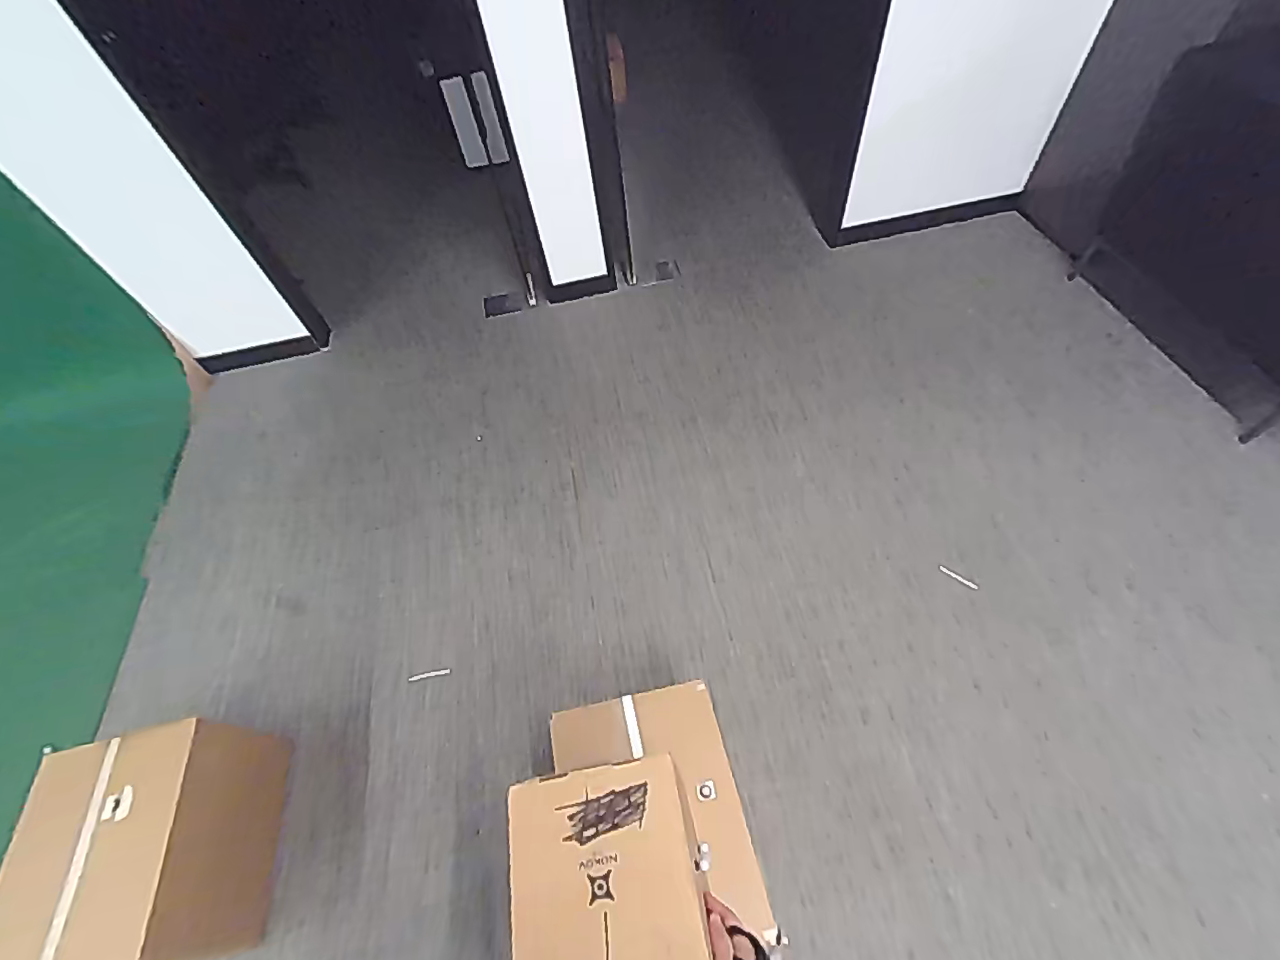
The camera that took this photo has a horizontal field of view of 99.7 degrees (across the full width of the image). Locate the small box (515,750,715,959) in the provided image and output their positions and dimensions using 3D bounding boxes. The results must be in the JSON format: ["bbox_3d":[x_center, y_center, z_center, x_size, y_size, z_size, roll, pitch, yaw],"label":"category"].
[{"bbox_3d":[-0.023,0.397,0.551,0.168,0.176,0.179,-12,55,0],"label":"small box"}]

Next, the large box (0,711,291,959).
[{"bbox_3d":[-0.988,0.750,1.113,0.320,0.320,0.408,-13,55,-2],"label":"large box"}]
